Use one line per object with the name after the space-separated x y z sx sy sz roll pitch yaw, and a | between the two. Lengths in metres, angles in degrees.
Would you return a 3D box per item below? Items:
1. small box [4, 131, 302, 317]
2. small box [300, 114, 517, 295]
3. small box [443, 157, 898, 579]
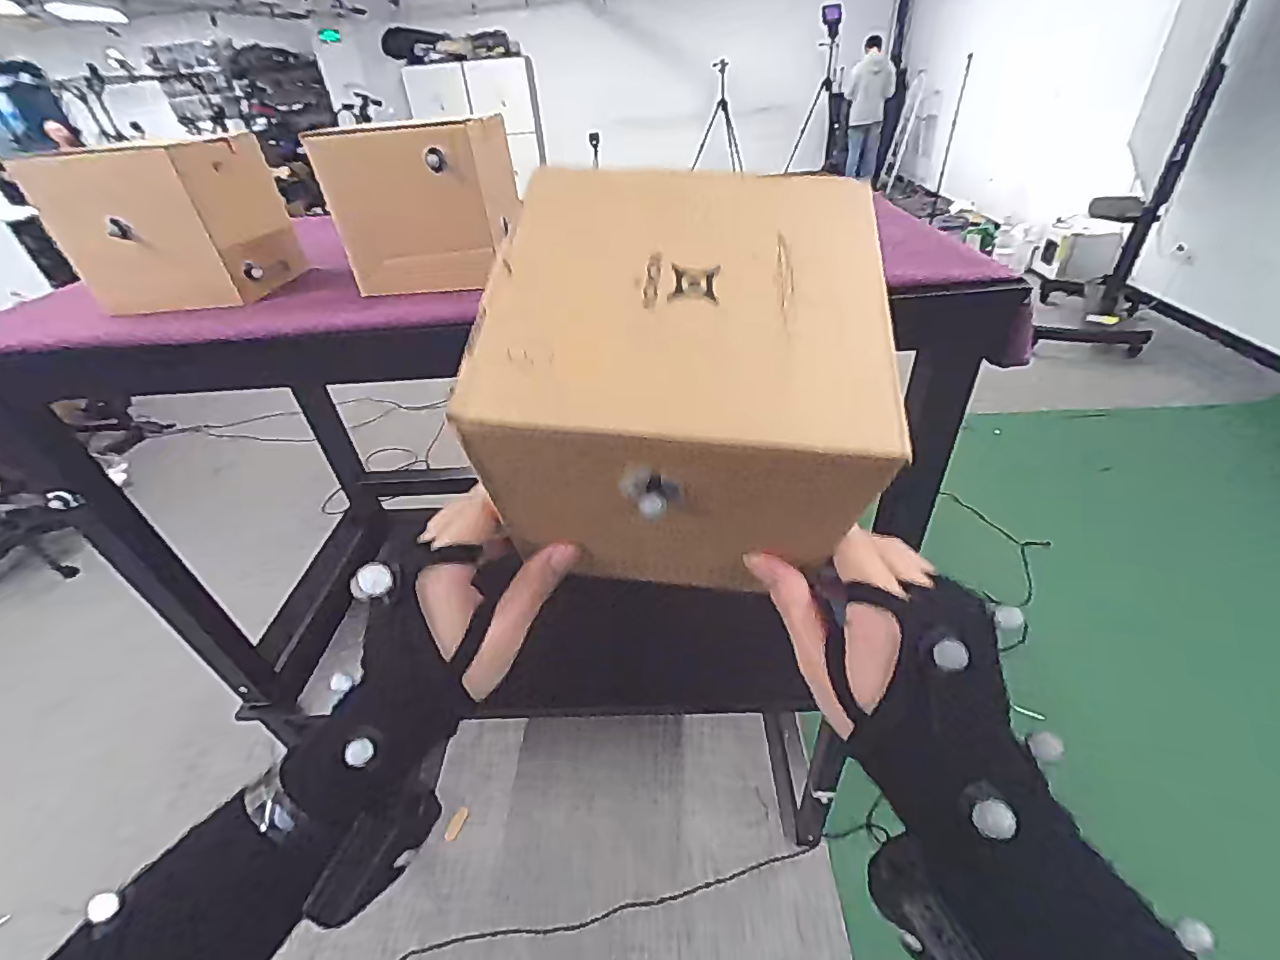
-0.561 -0.312 0.661 0.179 0.176 0.168 -5 37 2 | small box
-0.252 -0.331 0.652 0.179 0.176 0.168 -3 37 3 | small box
0.020 -0.052 0.309 0.179 0.176 0.168 6 62 4 | small box
